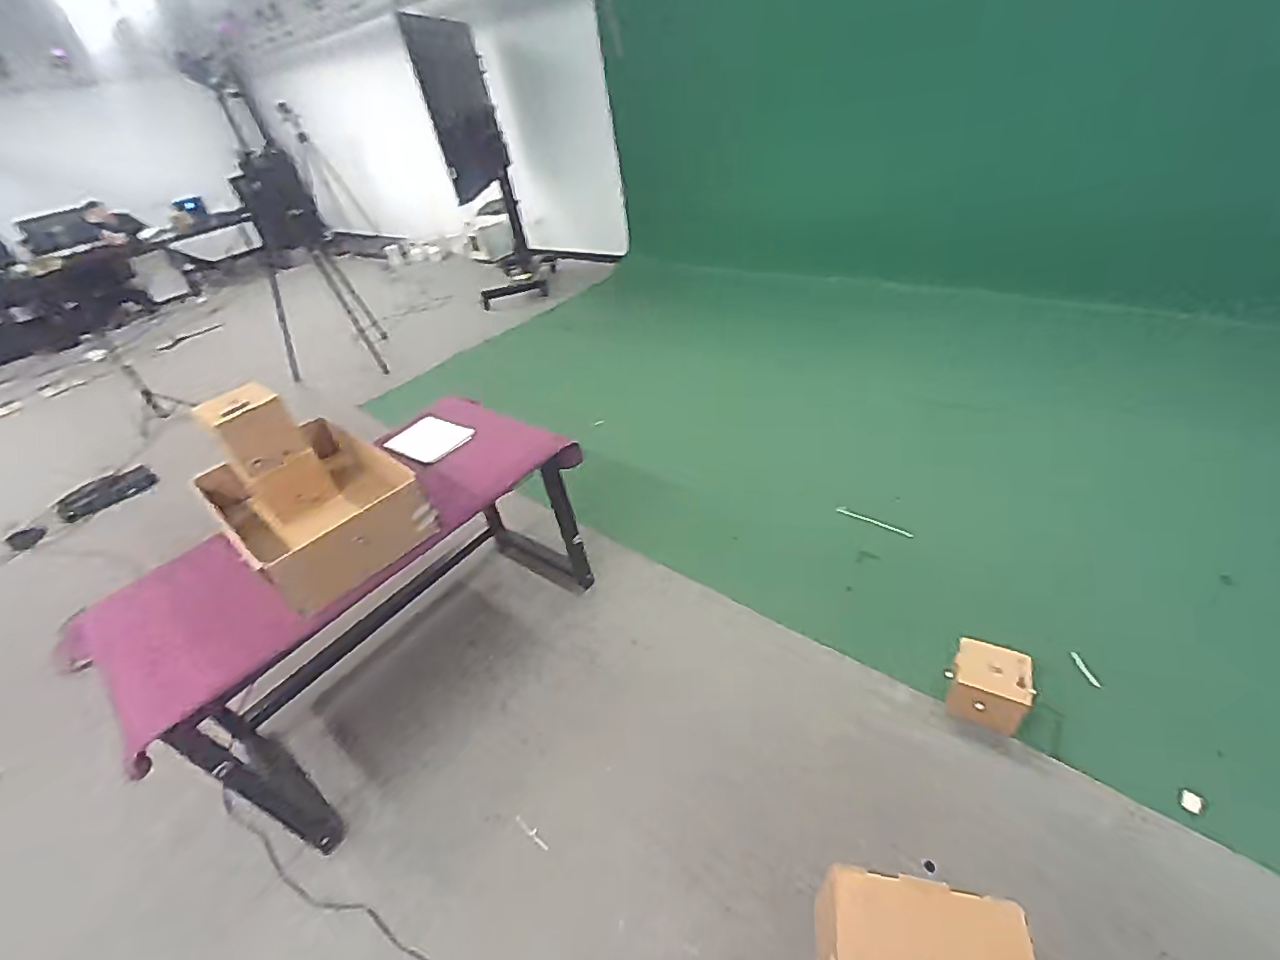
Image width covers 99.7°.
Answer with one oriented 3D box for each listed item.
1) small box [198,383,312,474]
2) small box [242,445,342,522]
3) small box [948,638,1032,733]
[{"bbox_3d":[-1.033,-0.137,1.461,0.179,0.176,0.168,21,47,34],"label":"small box"},{"bbox_3d":[-1.006,-0.006,1.558,0.179,0.176,0.168,23,48,33],"label":"small box"},{"bbox_3d":[1.006,0.595,1.560,0.179,0.176,0.168,13,43,28],"label":"small box"}]
